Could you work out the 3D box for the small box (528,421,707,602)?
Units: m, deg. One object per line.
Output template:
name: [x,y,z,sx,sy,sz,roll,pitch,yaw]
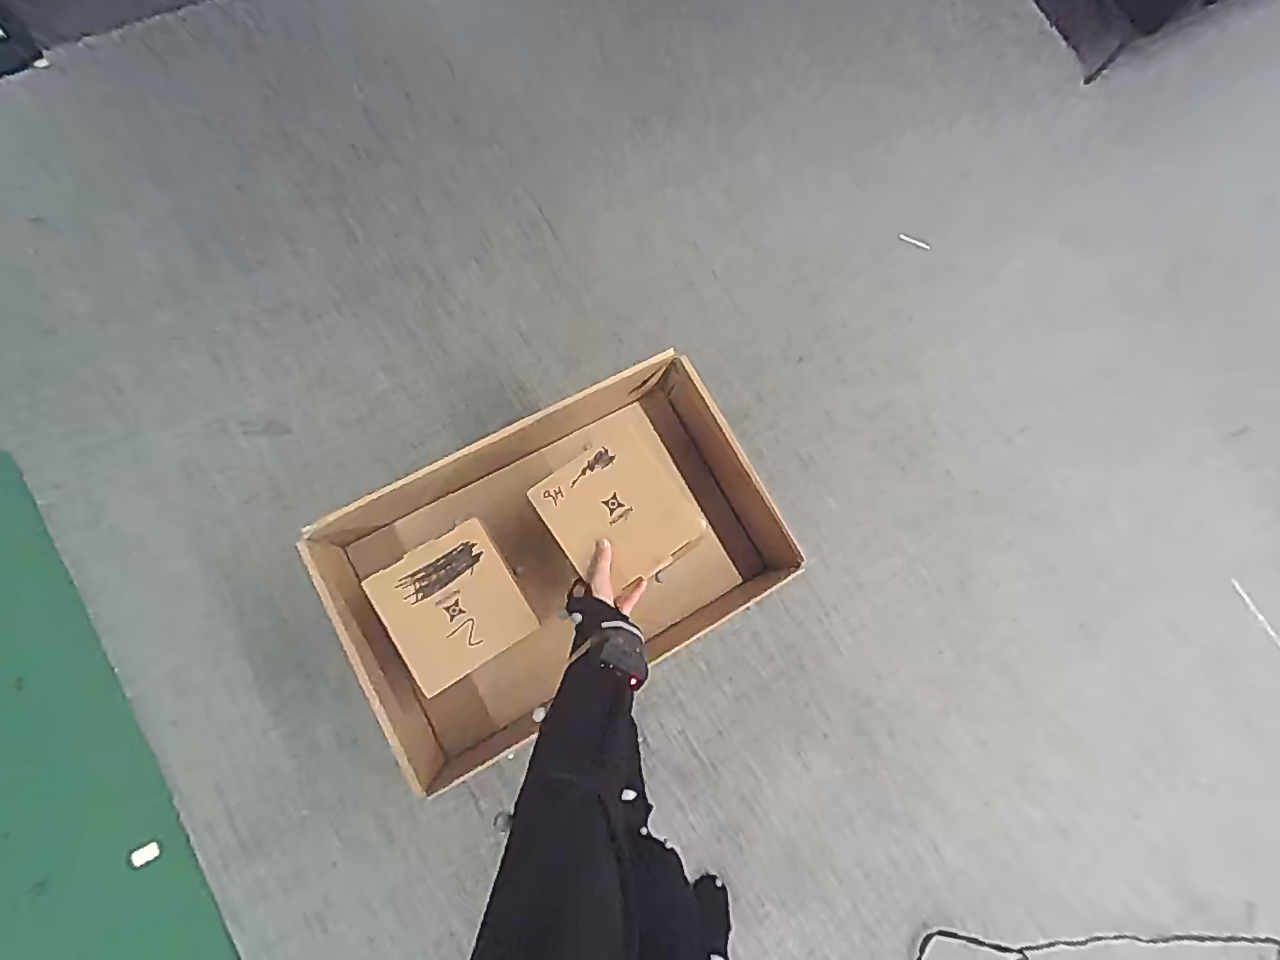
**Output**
small box: [-0.027,0.051,0.753,0.168,0.176,0.179,-34,79,-7]
